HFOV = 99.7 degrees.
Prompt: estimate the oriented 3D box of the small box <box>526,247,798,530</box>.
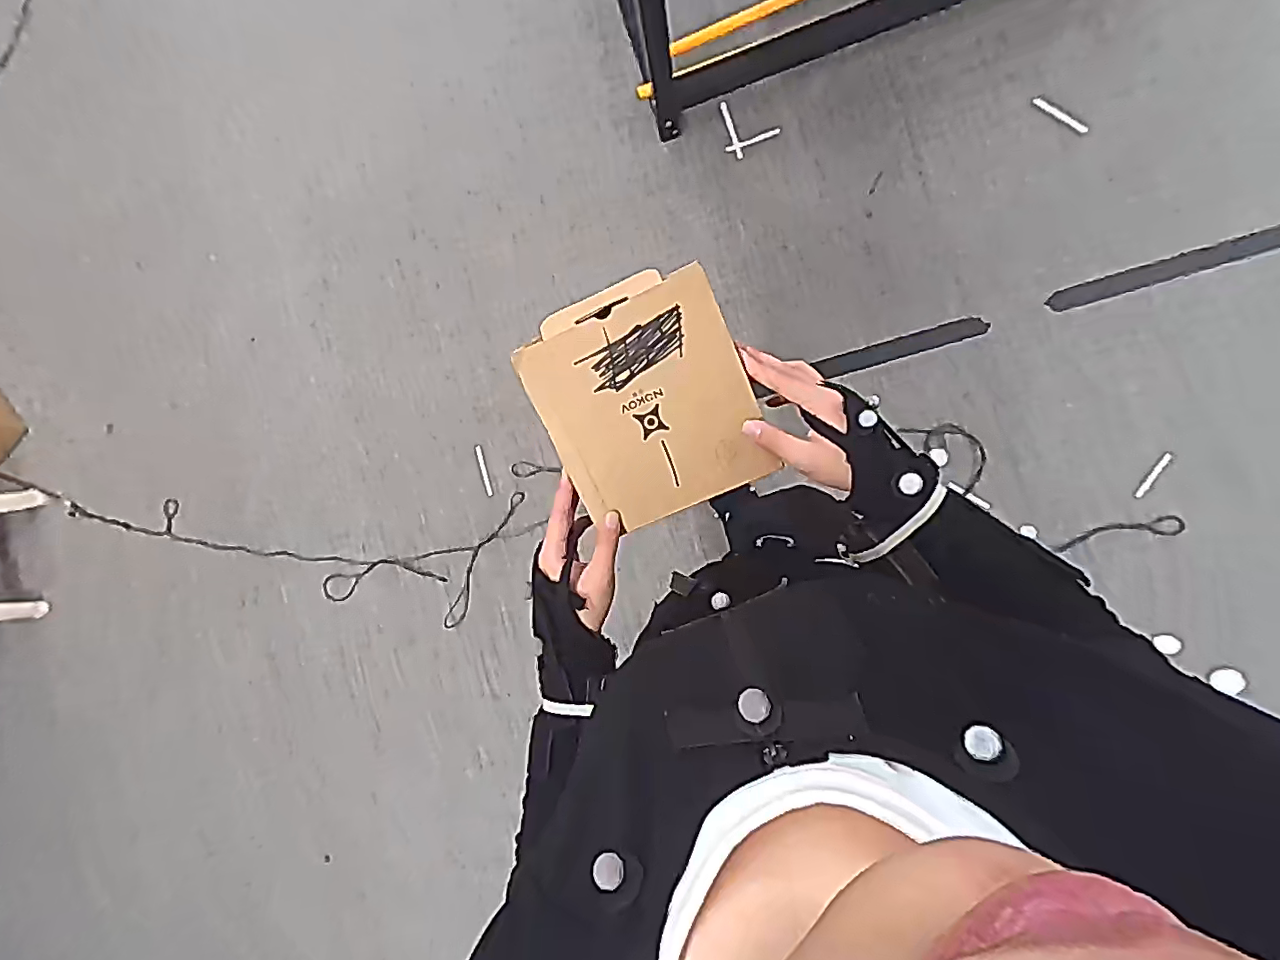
[{"bbox_3d":[0.022,-0.082,0.498,0.168,0.176,0.179,-23,101,9],"label":"small box"}]
